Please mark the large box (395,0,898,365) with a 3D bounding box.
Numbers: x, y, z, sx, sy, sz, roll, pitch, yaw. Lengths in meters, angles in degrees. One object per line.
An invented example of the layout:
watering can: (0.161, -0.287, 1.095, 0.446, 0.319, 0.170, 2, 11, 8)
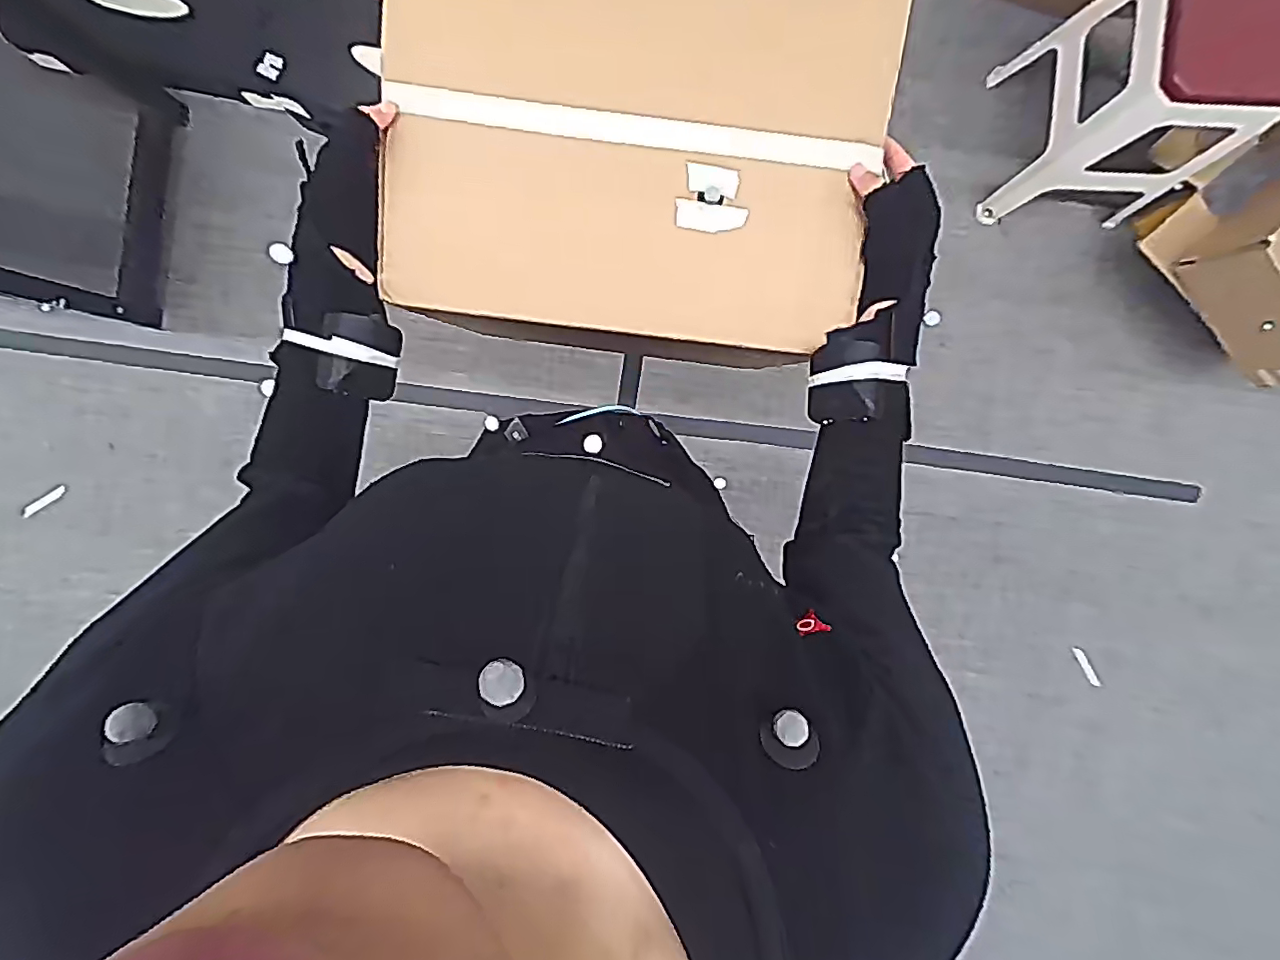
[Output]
large box: (-0.007, -0.308, 0.598, 0.408, 0.320, 0.320, 7, 101, -3)
